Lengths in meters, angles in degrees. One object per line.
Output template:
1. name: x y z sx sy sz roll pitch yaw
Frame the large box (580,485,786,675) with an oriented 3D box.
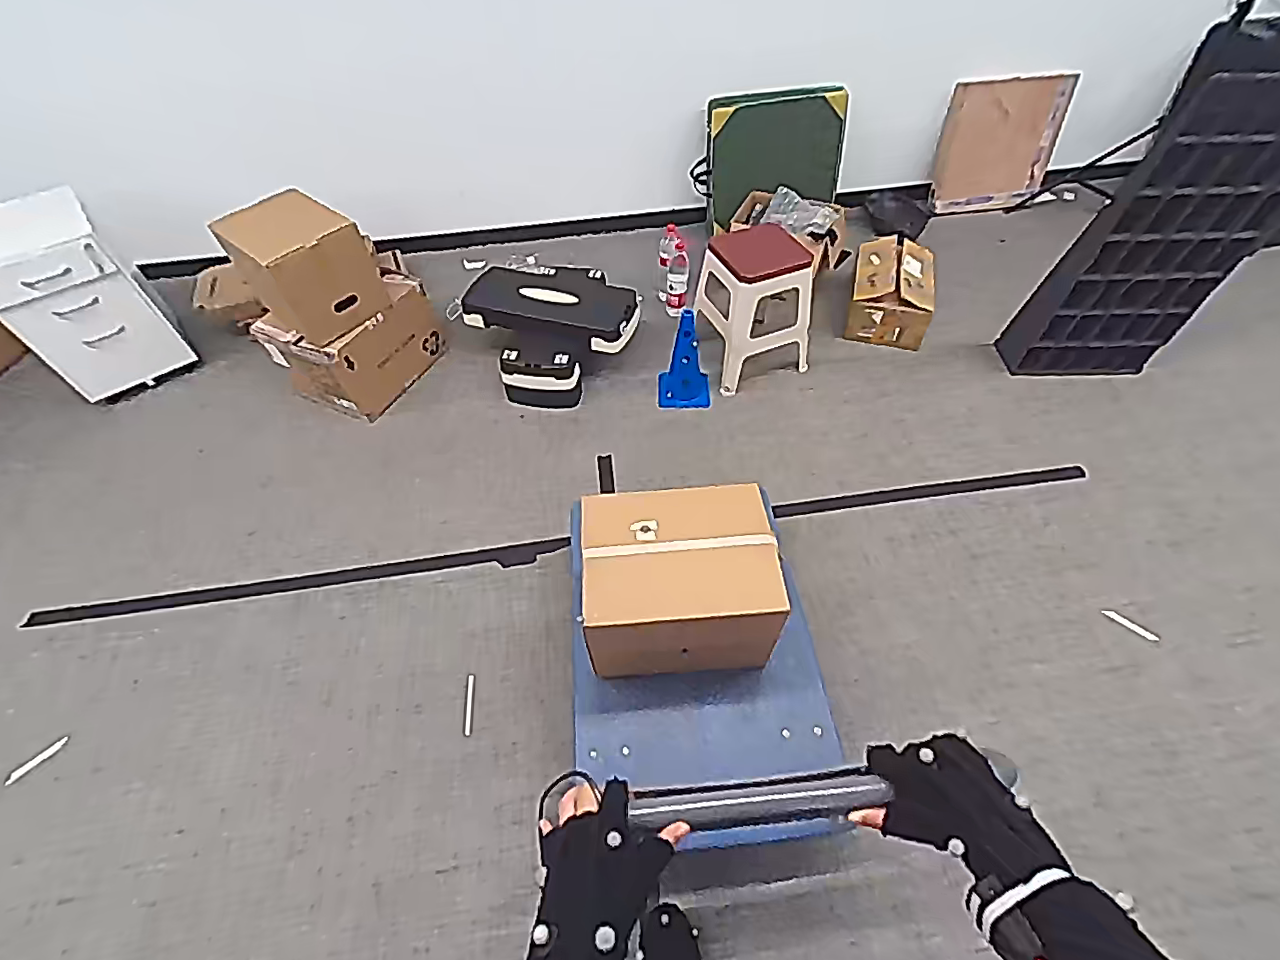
1. large box: 0.082 0.239 1.253 0.408 0.320 0.320 -5 52 -1
